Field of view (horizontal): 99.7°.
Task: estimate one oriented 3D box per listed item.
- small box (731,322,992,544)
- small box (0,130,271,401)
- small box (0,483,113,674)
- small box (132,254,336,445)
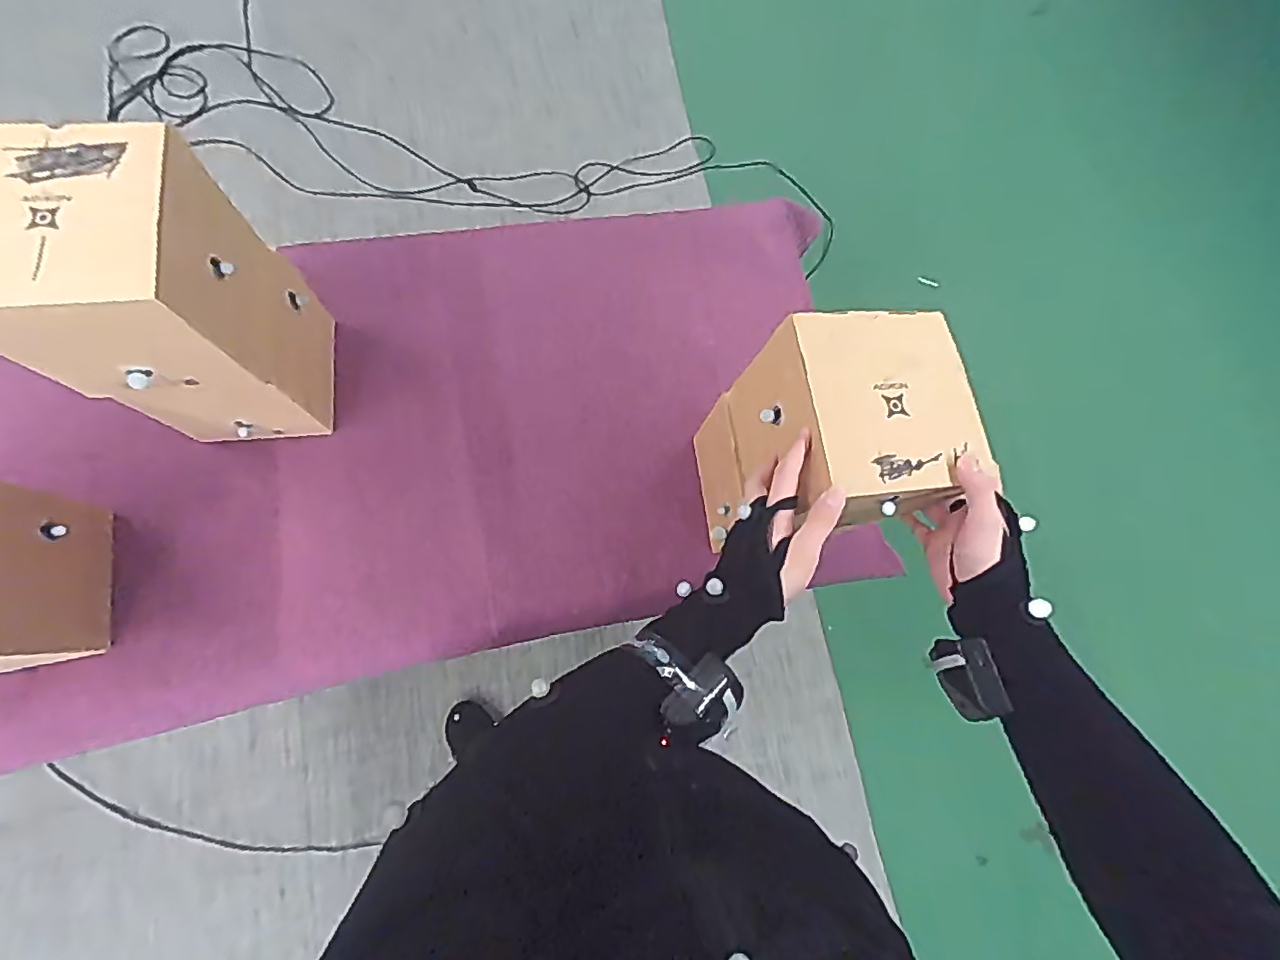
[{"bbox_3d":[0.206,-0.041,0.557,0.168,0.176,0.179,-4,74,-12],"label":"small box"},{"bbox_3d":[-0.482,-0.191,0.513,0.168,0.176,0.179,-6,77,-9],"label":"small box"},{"bbox_3d":[-0.713,0.114,0.570,0.168,0.176,0.179,-9,76,-10],"label":"small box"},{"bbox_3d":[-0.499,-0.155,0.673,0.168,0.176,0.179,-4,76,-9],"label":"small box"}]
